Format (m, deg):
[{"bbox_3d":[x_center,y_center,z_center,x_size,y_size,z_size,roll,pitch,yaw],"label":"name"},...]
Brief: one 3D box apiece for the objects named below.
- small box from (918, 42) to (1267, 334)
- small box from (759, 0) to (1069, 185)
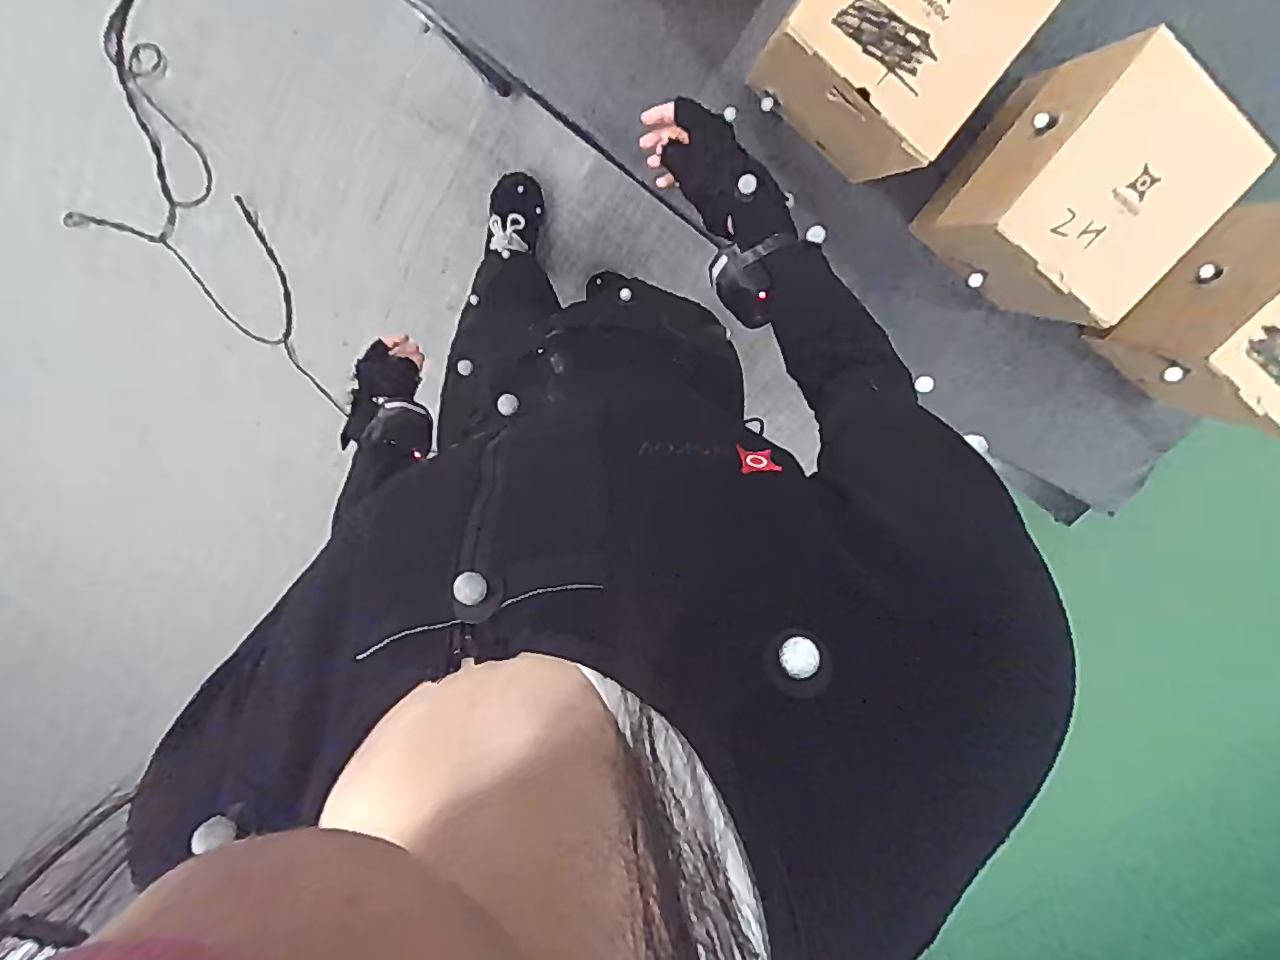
[{"bbox_3d":[0.431,-0.278,0.551,0.168,0.176,0.179,31,110,-13],"label":"small box"},{"bbox_3d":[0.229,-0.400,0.493,0.168,0.176,0.179,32,108,-15],"label":"small box"}]
